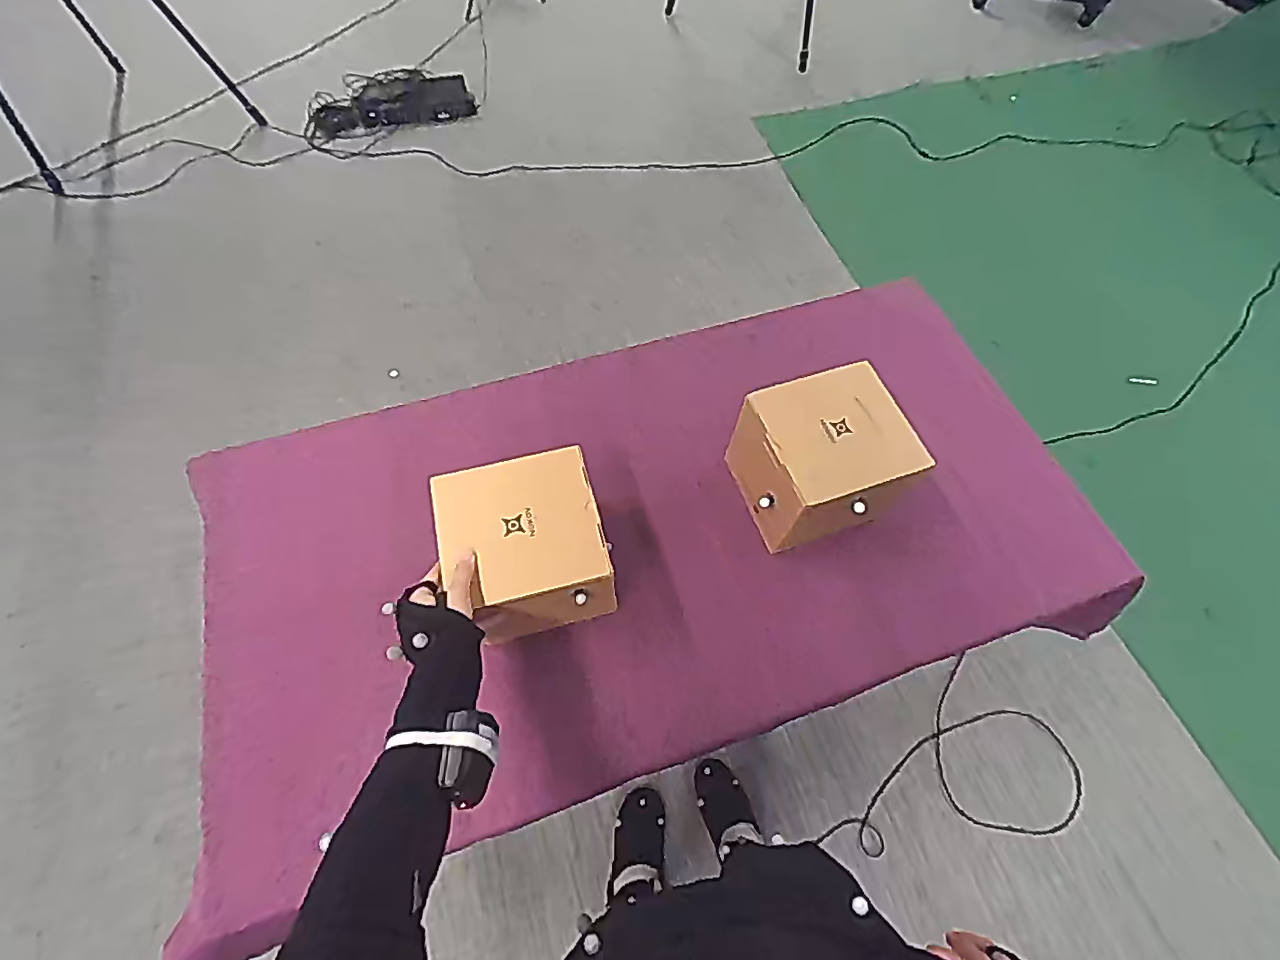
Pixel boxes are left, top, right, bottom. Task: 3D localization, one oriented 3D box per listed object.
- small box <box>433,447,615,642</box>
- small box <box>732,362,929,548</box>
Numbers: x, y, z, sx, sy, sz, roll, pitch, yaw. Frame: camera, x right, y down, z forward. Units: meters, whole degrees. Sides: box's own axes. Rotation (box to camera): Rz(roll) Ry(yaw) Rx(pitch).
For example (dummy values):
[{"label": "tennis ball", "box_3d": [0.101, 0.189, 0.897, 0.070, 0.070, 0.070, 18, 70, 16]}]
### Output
[{"label": "small box", "box_3d": [-0.134, 0.086, 0.667, 0.179, 0.176, 0.168, -14, 64, -9]}, {"label": "small box", "box_3d": [0.236, -0.027, 0.731, 0.179, 0.176, 0.168, -17, 65, -10]}]
